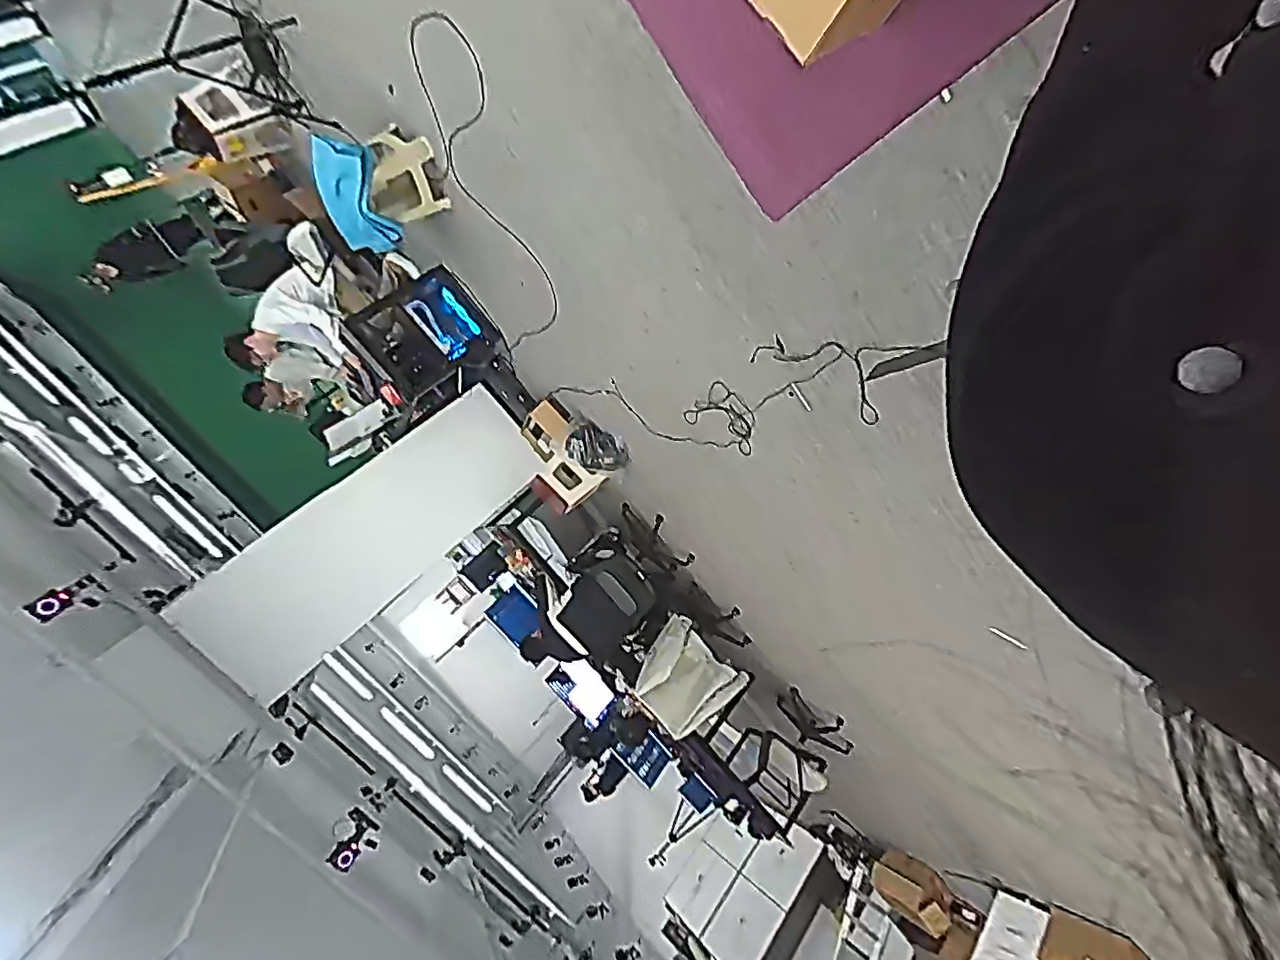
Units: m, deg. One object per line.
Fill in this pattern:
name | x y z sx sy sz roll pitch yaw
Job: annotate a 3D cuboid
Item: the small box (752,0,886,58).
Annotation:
small box | 0.188 -0.546 0.483 0.168 0.176 0.179 48 156 -5
